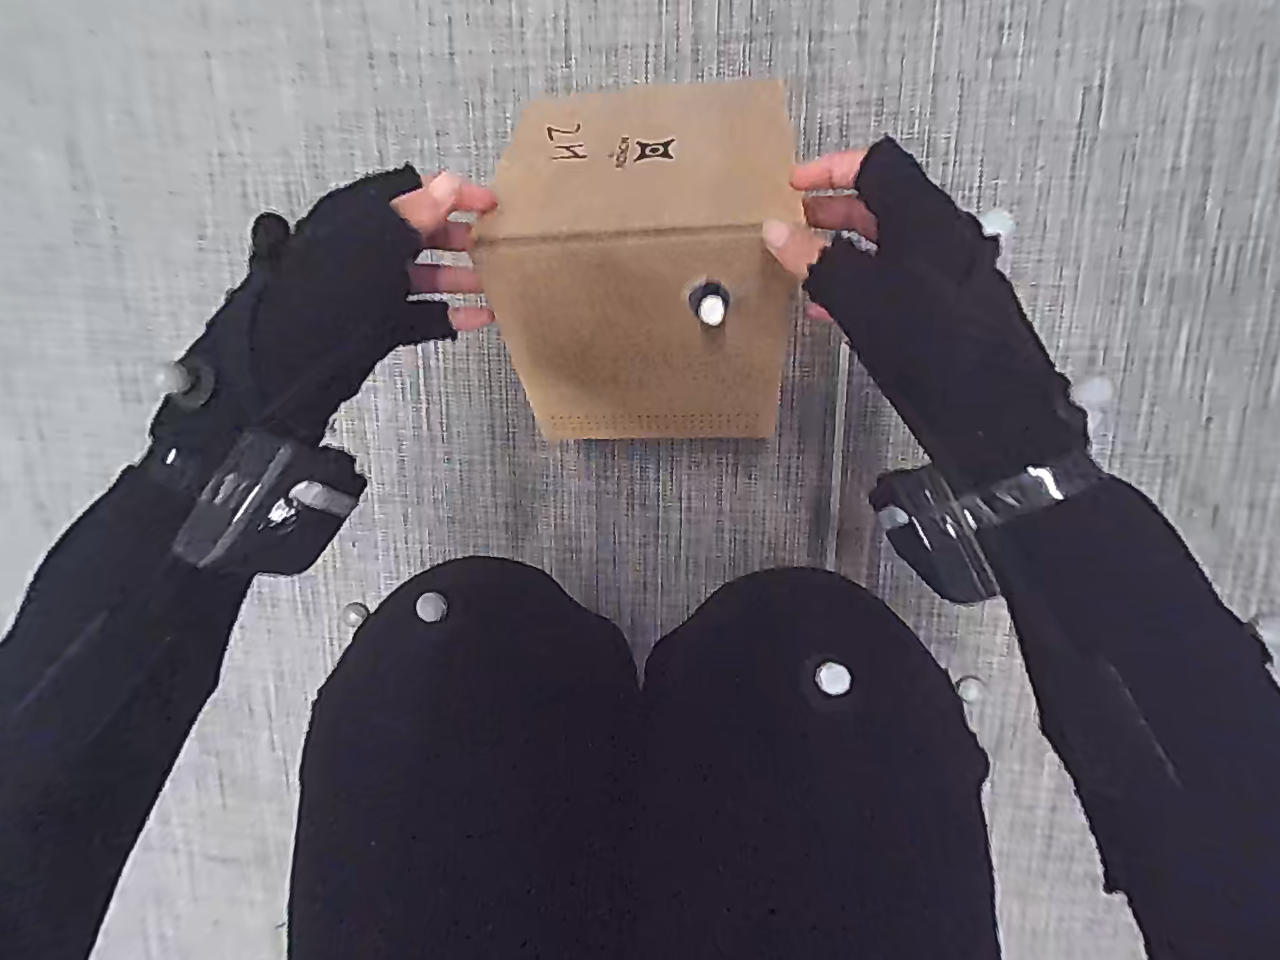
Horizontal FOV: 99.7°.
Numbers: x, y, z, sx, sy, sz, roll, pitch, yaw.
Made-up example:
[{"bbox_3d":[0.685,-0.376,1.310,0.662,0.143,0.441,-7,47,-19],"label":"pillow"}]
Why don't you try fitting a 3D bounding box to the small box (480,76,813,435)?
[{"bbox_3d":[0.015,-0.144,0.384,0.179,0.176,0.168,0,60,9],"label":"small box"}]
